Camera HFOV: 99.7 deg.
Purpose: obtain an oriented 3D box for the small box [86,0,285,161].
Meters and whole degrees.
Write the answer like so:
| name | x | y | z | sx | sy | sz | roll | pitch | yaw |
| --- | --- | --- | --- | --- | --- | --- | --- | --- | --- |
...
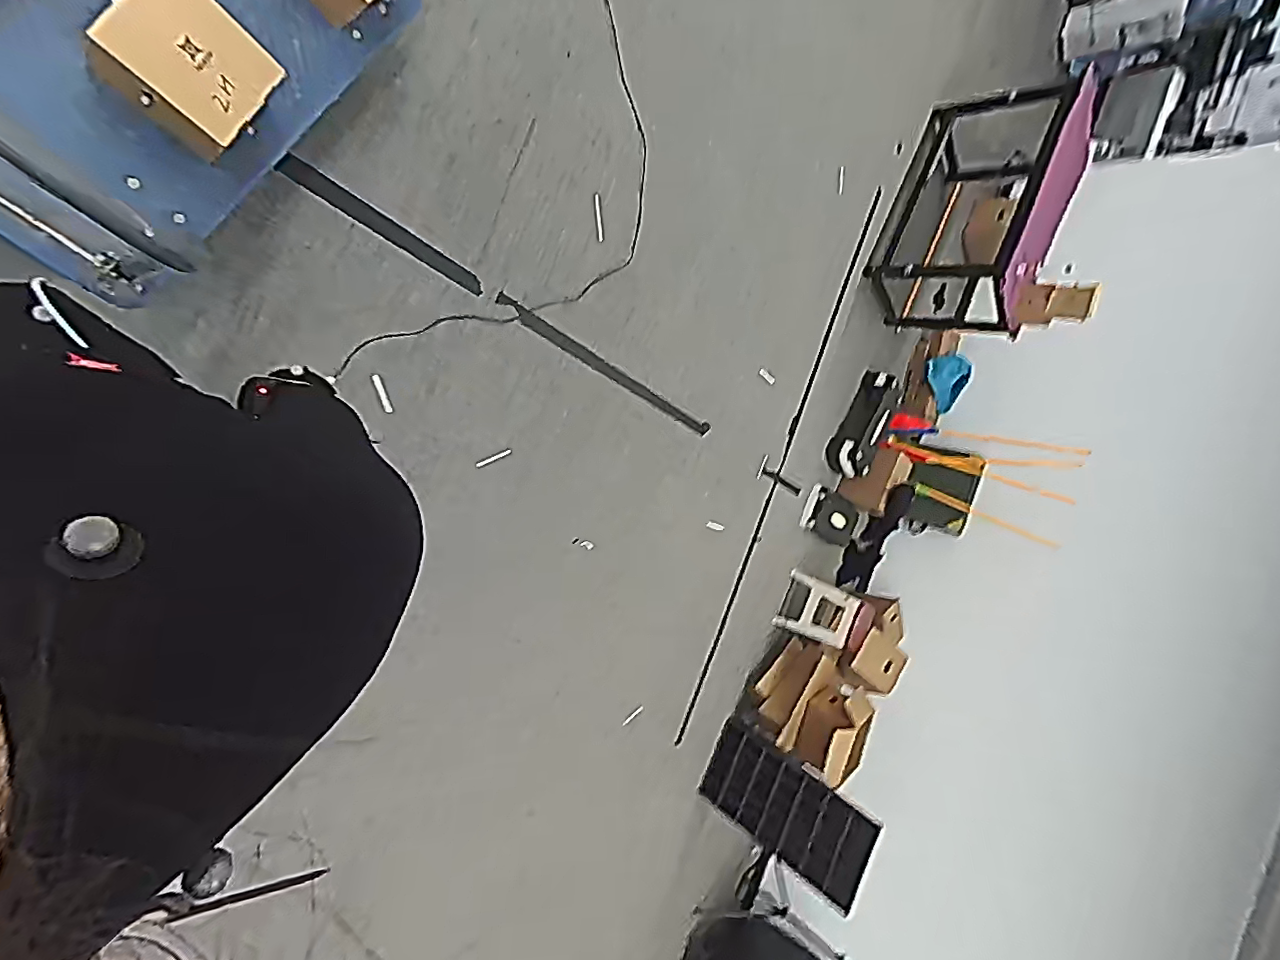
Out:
| name | x | y | z | sx | sy | sz | roll | pitch | yaw |
| --- | --- | --- | --- | --- | --- | --- | --- | --- | --- |
| small box | -0.713 | -0.639 | 0.849 | 0.179 | 0.176 | 0.168 | 41 | 74 | -47 |

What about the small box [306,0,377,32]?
| name | x | y | z | sx | sy | sz | roll | pitch | yaw |
| --- | --- | --- | --- | --- | --- | --- | --- | --- | --- |
| small box | -0.520 | -0.940 | 0.943 | 0.179 | 0.176 | 0.168 | -57 | 137 | -13 |
